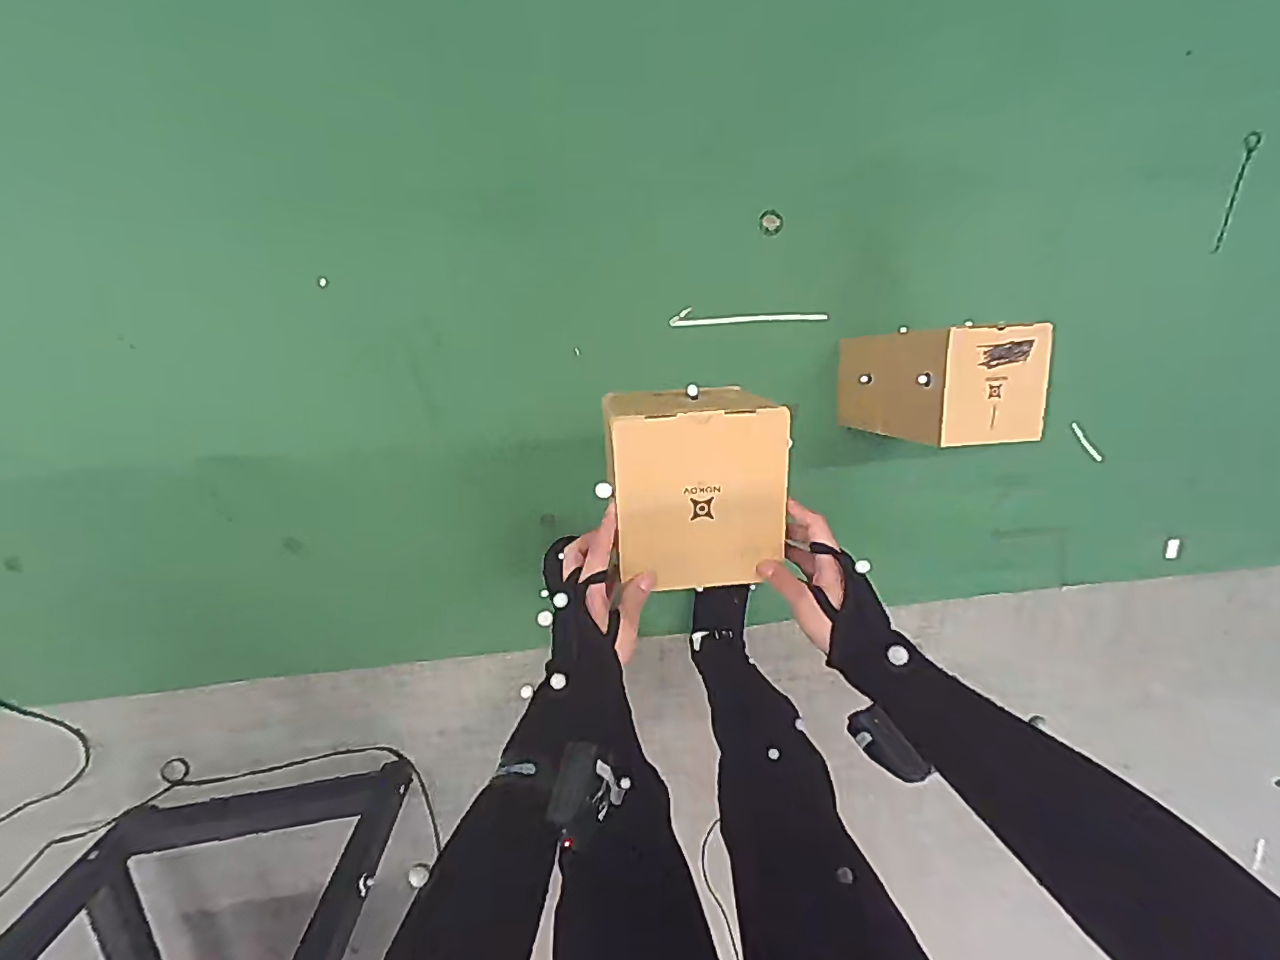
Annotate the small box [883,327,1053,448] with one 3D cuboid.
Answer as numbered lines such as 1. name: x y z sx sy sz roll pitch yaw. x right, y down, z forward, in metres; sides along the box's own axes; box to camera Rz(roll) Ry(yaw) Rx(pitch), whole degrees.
1. small box: 0.520 -0.151 0.880 0.168 0.176 0.179 -3 102 -6

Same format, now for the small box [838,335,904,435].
1. small box: 0.498 -0.183 1.040 0.168 0.176 0.179 -3 102 -6

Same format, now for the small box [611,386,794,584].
1. small box: 0.056 -0.005 0.591 0.168 0.176 0.179 -3 104 -5
